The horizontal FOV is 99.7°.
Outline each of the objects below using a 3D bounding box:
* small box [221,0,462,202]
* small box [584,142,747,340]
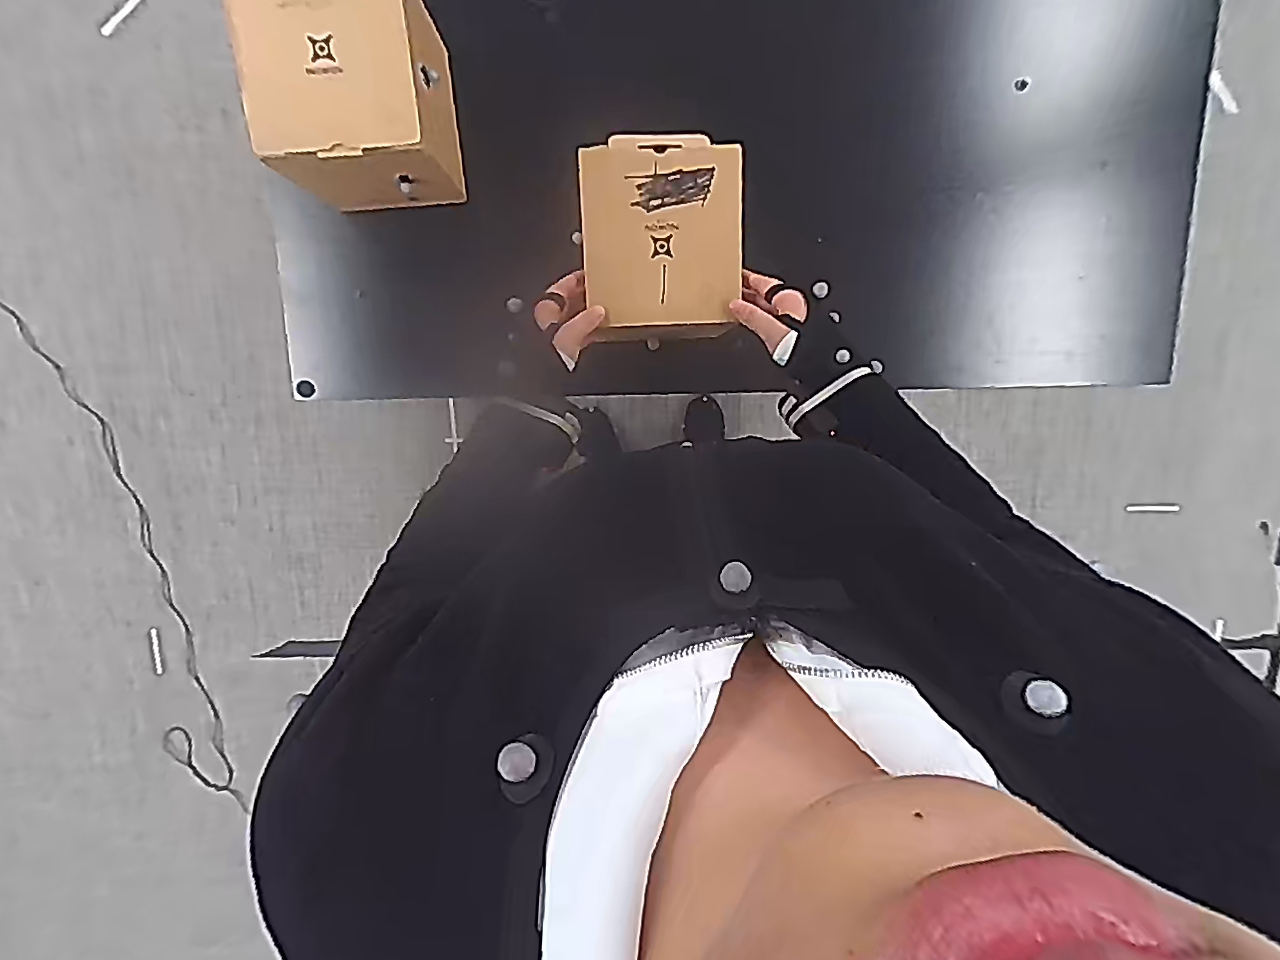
[{"bbox_3d":[-0.303,-0.417,0.585,0.168,0.176,0.179,-6,99,-3],"label":"small box"},{"bbox_3d":[0.023,-0.260,0.625,0.168,0.176,0.179,-2,100,-2],"label":"small box"}]
